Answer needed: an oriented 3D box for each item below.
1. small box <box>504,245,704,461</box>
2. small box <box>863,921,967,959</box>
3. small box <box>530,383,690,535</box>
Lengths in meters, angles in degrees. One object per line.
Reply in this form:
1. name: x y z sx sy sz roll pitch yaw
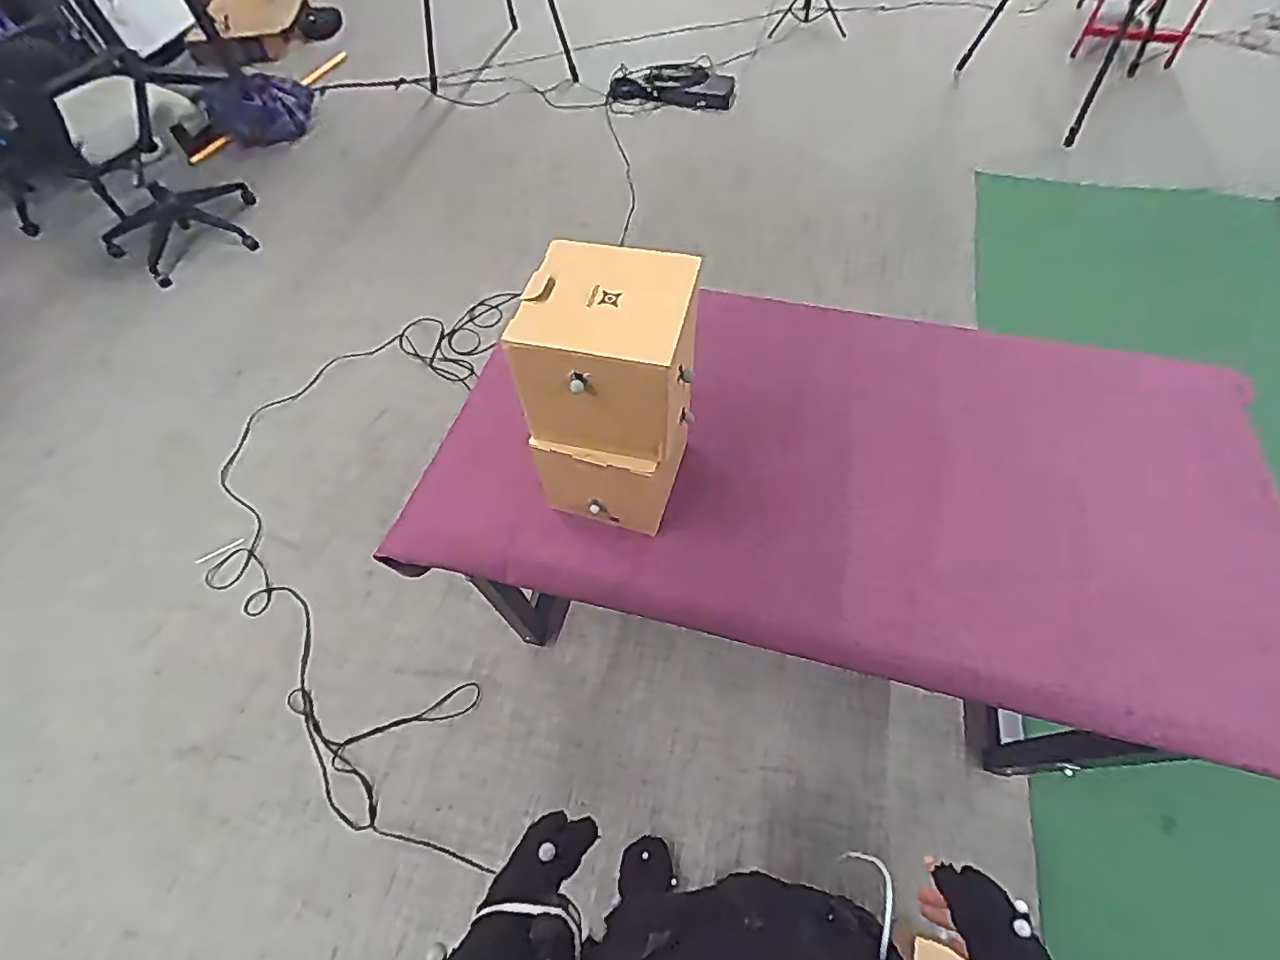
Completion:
1. small box: -0.031 -0.141 0.634 0.179 0.176 0.168 12 60 9
2. small box: 0.464 0.855 0.868 0.168 0.176 0.179 15 60 11
3. small box: -0.035 -0.049 0.769 0.168 0.176 0.179 15 61 11
